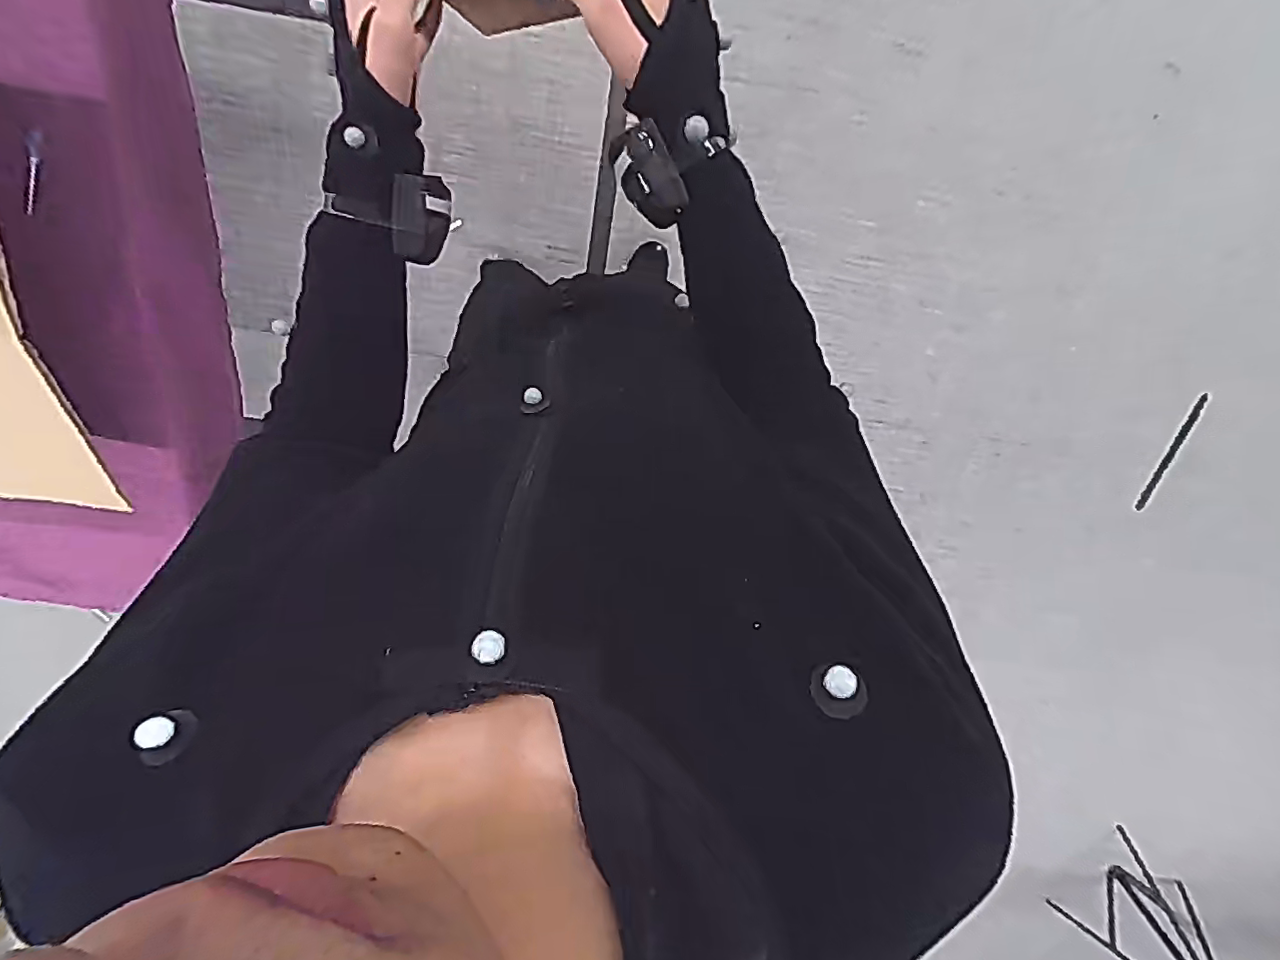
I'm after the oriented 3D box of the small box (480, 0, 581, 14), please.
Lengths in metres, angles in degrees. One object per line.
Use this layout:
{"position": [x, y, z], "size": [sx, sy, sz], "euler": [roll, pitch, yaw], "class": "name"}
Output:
{"position": [-0.077, -0.477, 0.392], "size": [0.168, 0.176, 0.179], "euler": [-3, 115, 9], "class": "small box"}
